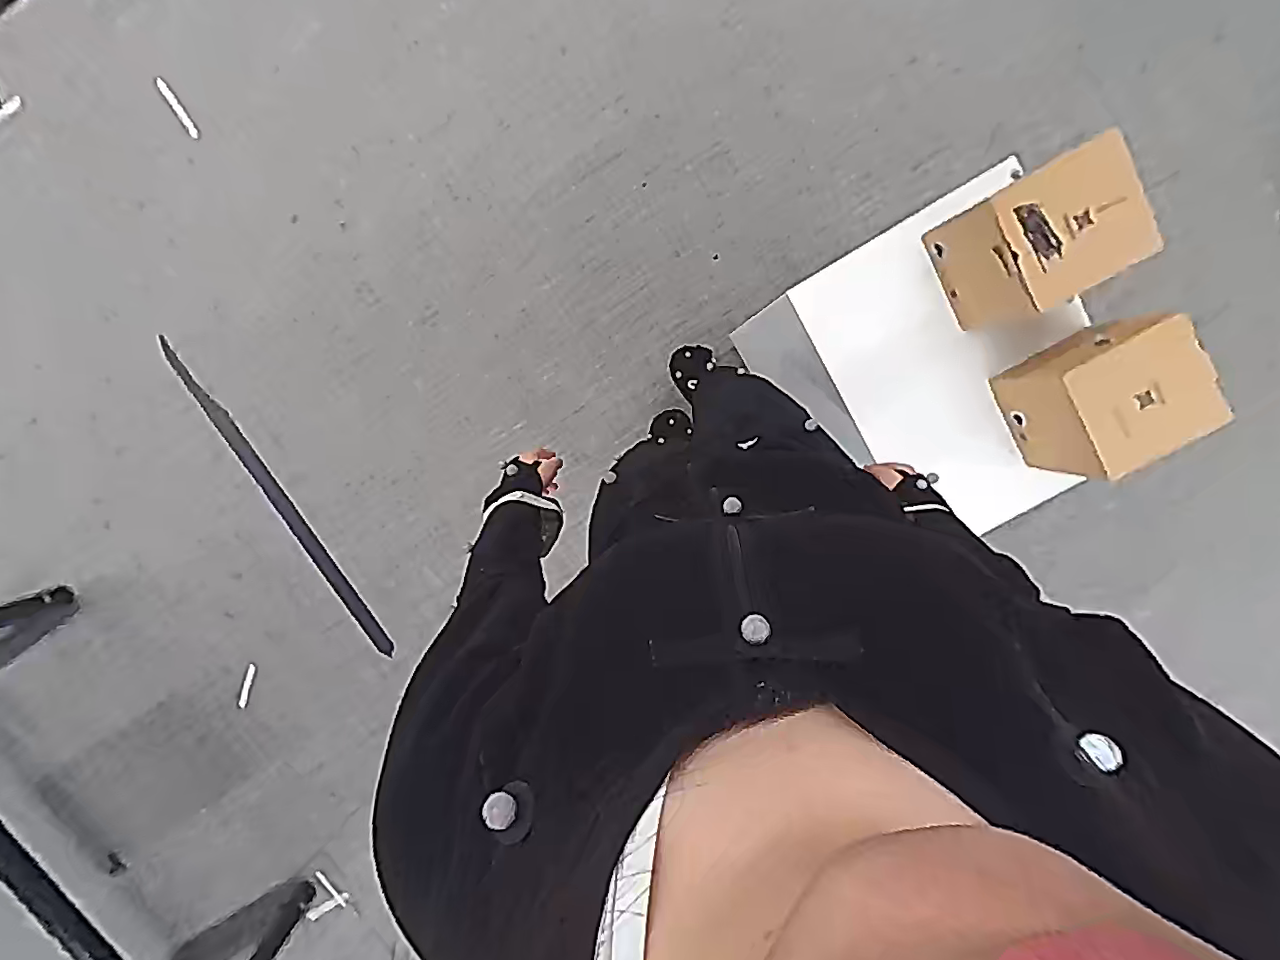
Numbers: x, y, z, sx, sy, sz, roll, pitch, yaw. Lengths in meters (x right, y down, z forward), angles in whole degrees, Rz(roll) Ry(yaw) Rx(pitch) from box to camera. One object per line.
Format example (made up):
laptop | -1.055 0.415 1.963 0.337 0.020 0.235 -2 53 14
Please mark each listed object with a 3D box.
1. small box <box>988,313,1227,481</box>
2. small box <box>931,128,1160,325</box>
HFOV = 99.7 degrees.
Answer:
small box | 0.667 -0.120 0.794 0.179 0.176 0.168 -30 96 6
small box | 0.545 -0.335 0.759 0.179 0.176 0.168 -29 98 4
